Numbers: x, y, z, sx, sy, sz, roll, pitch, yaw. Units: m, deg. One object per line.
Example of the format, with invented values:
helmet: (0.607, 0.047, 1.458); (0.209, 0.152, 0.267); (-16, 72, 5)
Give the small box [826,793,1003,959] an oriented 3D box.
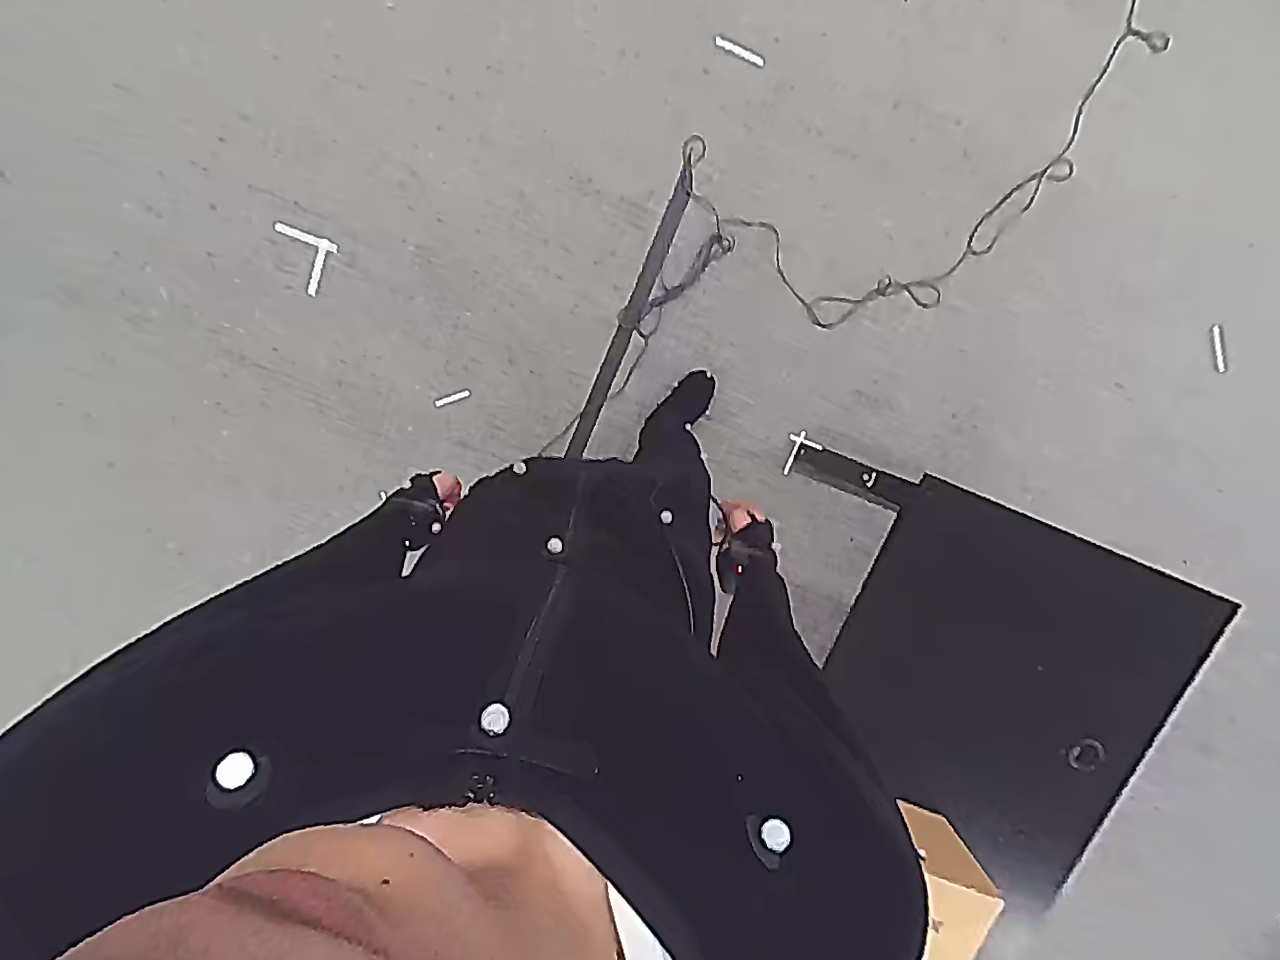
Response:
small box: (0.451, 0.676, 0.918); (0.179, 0.176, 0.168); (21, 99, -4)
